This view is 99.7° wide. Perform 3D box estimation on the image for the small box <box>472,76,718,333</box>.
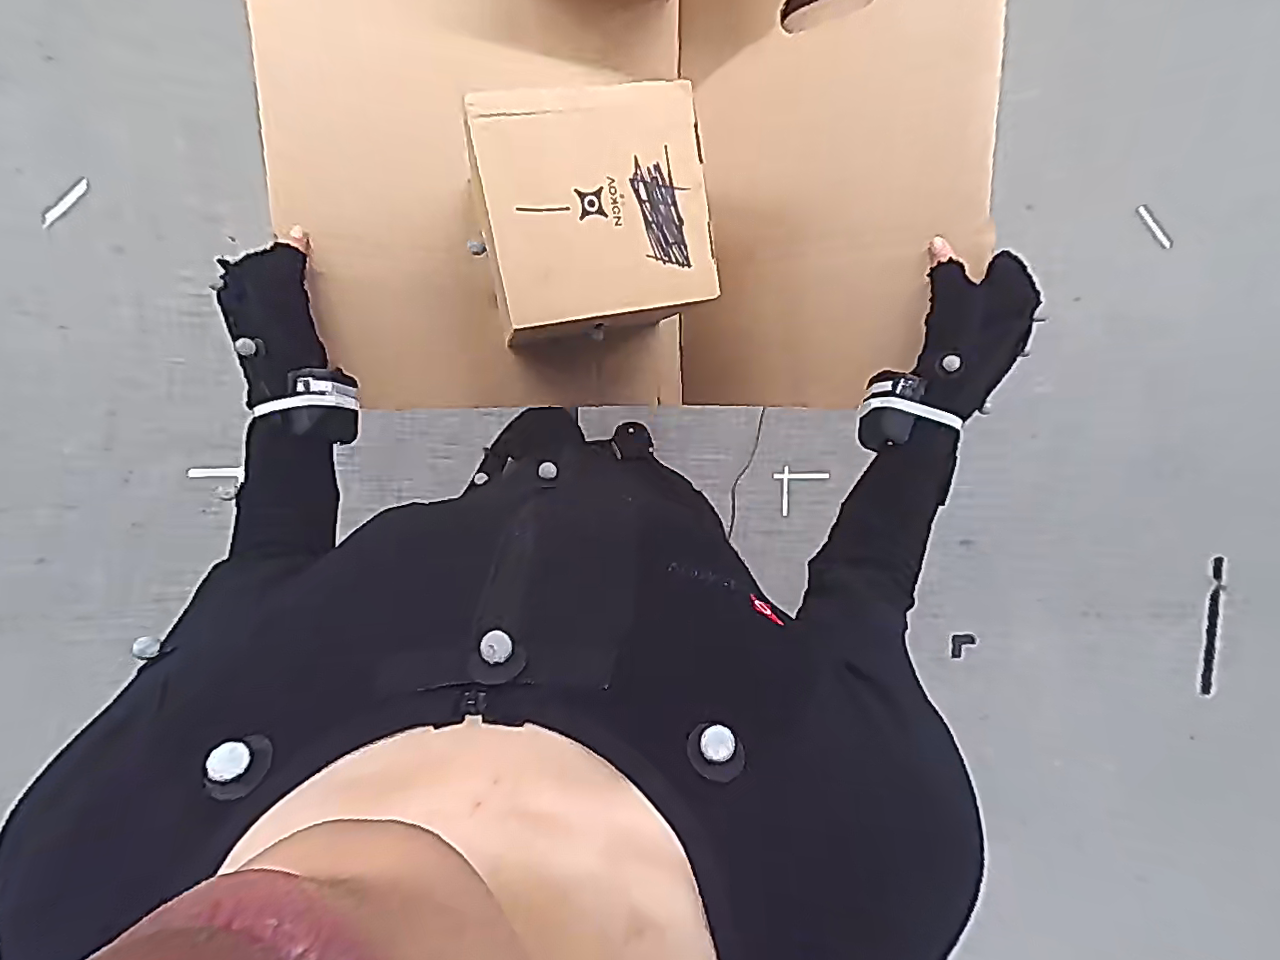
[{"bbox_3d":[-0.048,-0.237,0.500,0.179,0.176,0.168,-13,102,-12],"label":"small box"}]
